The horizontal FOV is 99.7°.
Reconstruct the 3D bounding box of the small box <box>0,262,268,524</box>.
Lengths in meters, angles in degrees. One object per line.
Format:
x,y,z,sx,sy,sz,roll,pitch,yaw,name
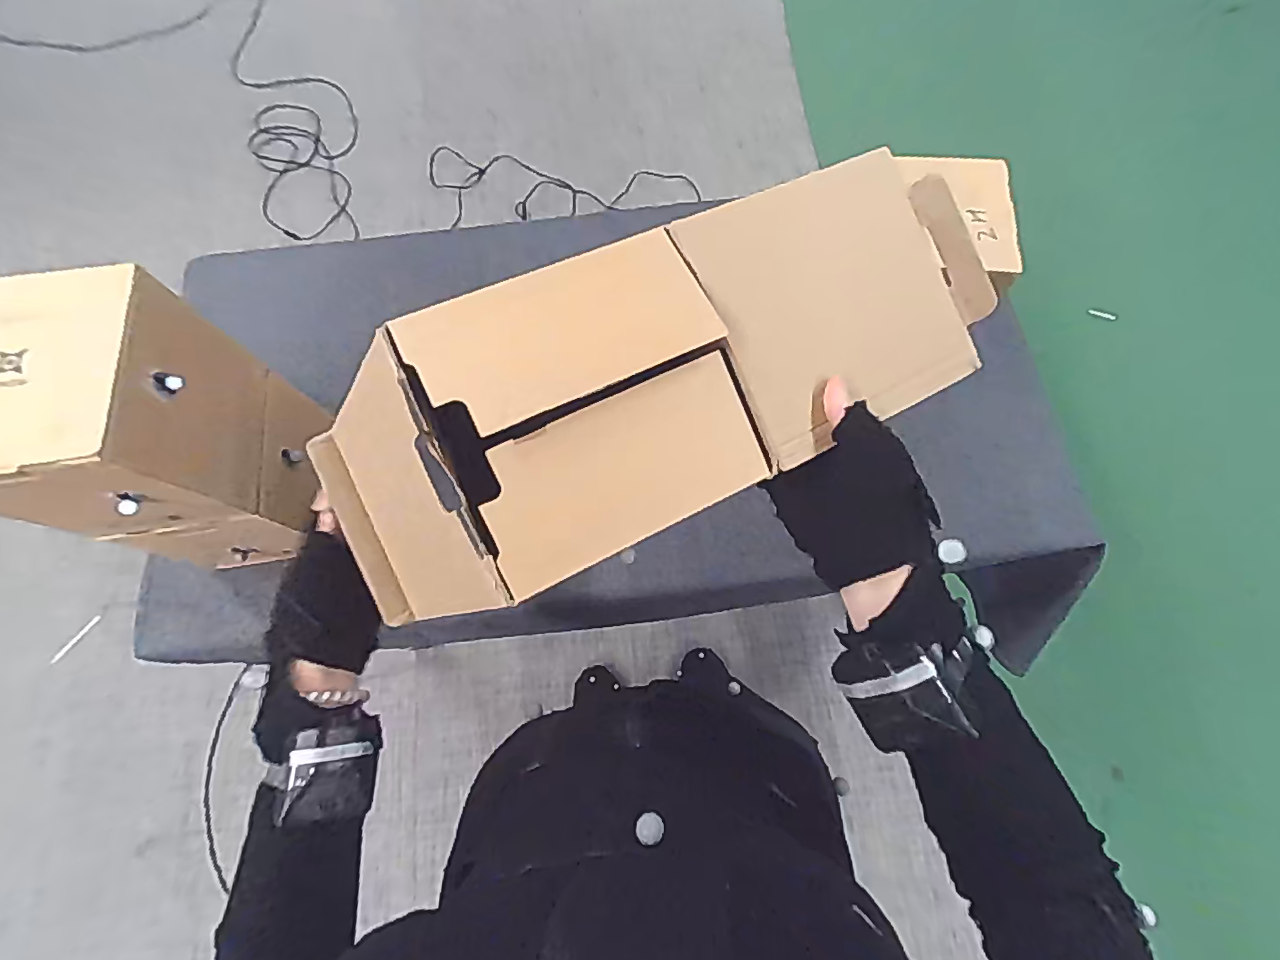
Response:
-0.475,-0.063,0.490,0.168,0.176,0.179,-7,71,-2,small box

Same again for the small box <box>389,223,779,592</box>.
-0.041,-0.039,0.380,0.179,0.176,0.168,-25,92,-14,small box

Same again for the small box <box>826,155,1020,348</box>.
0.352,-0.290,0.711,0.179,0.176,0.168,5,73,3,small box

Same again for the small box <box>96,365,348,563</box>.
-0.472,-0.010,0.643,0.168,0.176,0.179,-8,71,-2,small box
